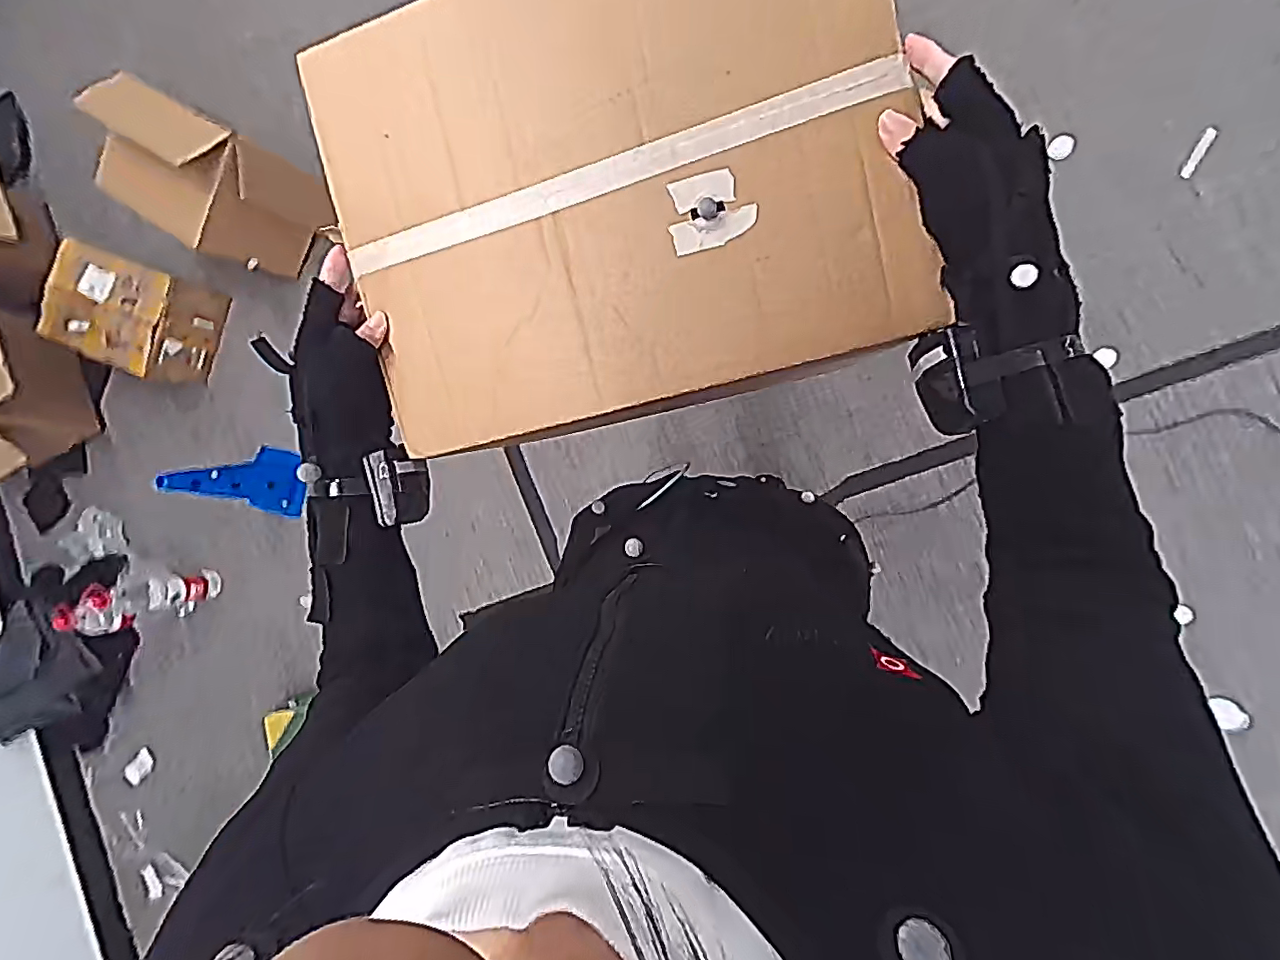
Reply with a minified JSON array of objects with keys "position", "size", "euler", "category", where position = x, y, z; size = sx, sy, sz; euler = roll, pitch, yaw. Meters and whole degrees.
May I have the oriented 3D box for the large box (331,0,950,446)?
[{"position":[0.009,-0.235,0.533],"size":[0.408,0.320,0.320],"euler":[-12,96,11],"category":"large box"}]
